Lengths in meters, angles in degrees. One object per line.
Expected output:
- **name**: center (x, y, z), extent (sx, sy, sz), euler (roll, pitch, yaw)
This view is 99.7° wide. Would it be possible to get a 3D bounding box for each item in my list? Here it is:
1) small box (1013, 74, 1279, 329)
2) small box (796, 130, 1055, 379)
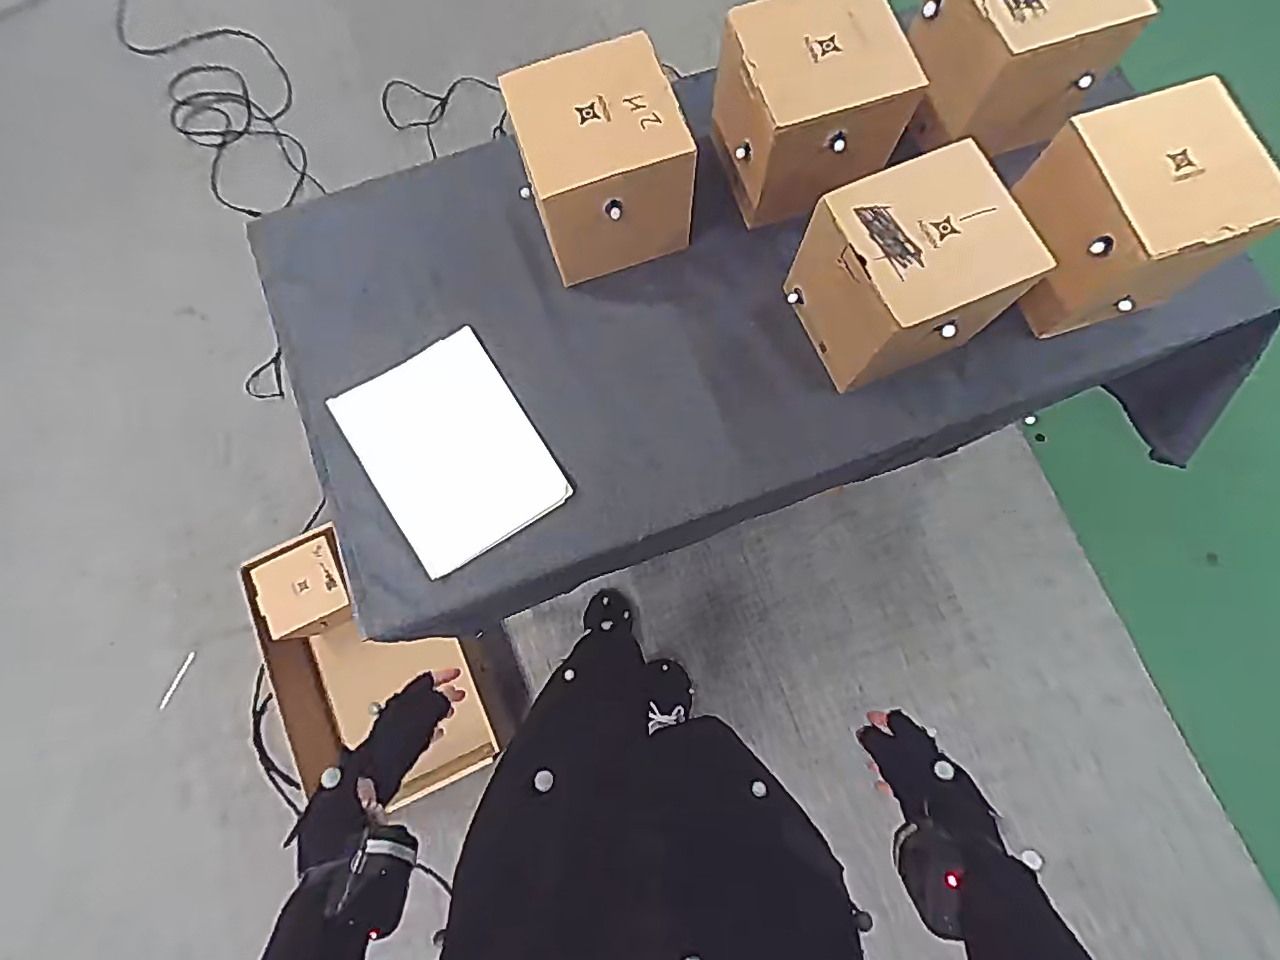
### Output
- **small box**: center (0.548, -0.306, 0.622), extent (0.168, 0.176, 0.179), euler (-17, 78, -2)
- **small box**: center (0.295, -0.238, 0.611), extent (0.179, 0.176, 0.168), euler (-22, 79, -4)
